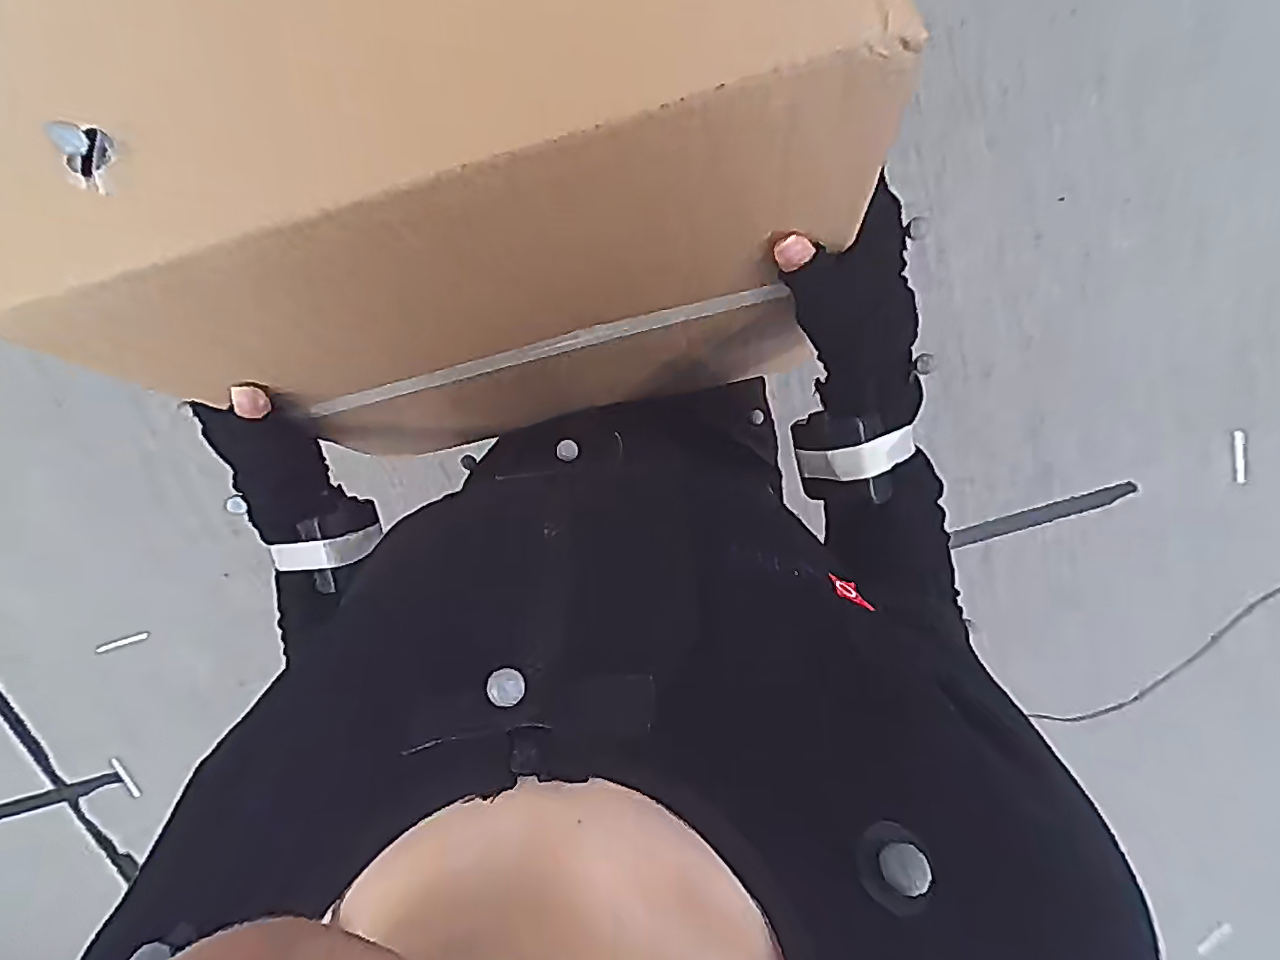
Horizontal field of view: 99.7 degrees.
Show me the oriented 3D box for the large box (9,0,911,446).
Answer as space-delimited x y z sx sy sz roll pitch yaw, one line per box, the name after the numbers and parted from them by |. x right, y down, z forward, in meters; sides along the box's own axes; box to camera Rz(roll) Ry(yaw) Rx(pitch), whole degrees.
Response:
-0.099 -0.246 0.391 0.408 0.320 0.320 -12 79 7 | large box
